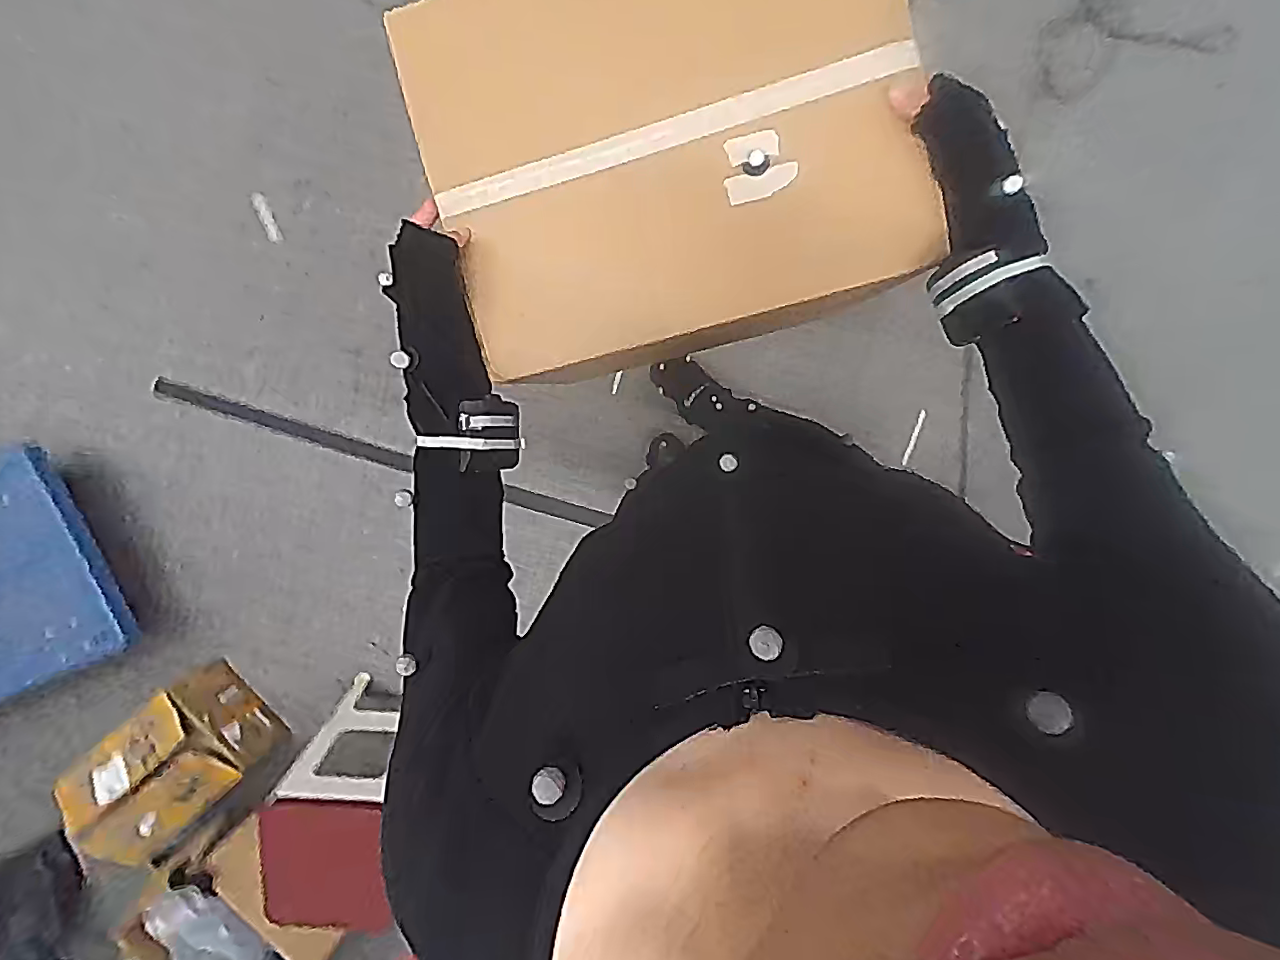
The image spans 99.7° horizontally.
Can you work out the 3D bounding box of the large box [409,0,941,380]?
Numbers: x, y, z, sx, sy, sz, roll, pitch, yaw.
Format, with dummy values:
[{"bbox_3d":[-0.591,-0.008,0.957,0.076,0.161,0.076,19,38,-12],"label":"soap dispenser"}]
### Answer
[{"bbox_3d":[0.039,-0.313,0.602,0.408,0.320,0.320,-12,98,7],"label":"large box"}]
